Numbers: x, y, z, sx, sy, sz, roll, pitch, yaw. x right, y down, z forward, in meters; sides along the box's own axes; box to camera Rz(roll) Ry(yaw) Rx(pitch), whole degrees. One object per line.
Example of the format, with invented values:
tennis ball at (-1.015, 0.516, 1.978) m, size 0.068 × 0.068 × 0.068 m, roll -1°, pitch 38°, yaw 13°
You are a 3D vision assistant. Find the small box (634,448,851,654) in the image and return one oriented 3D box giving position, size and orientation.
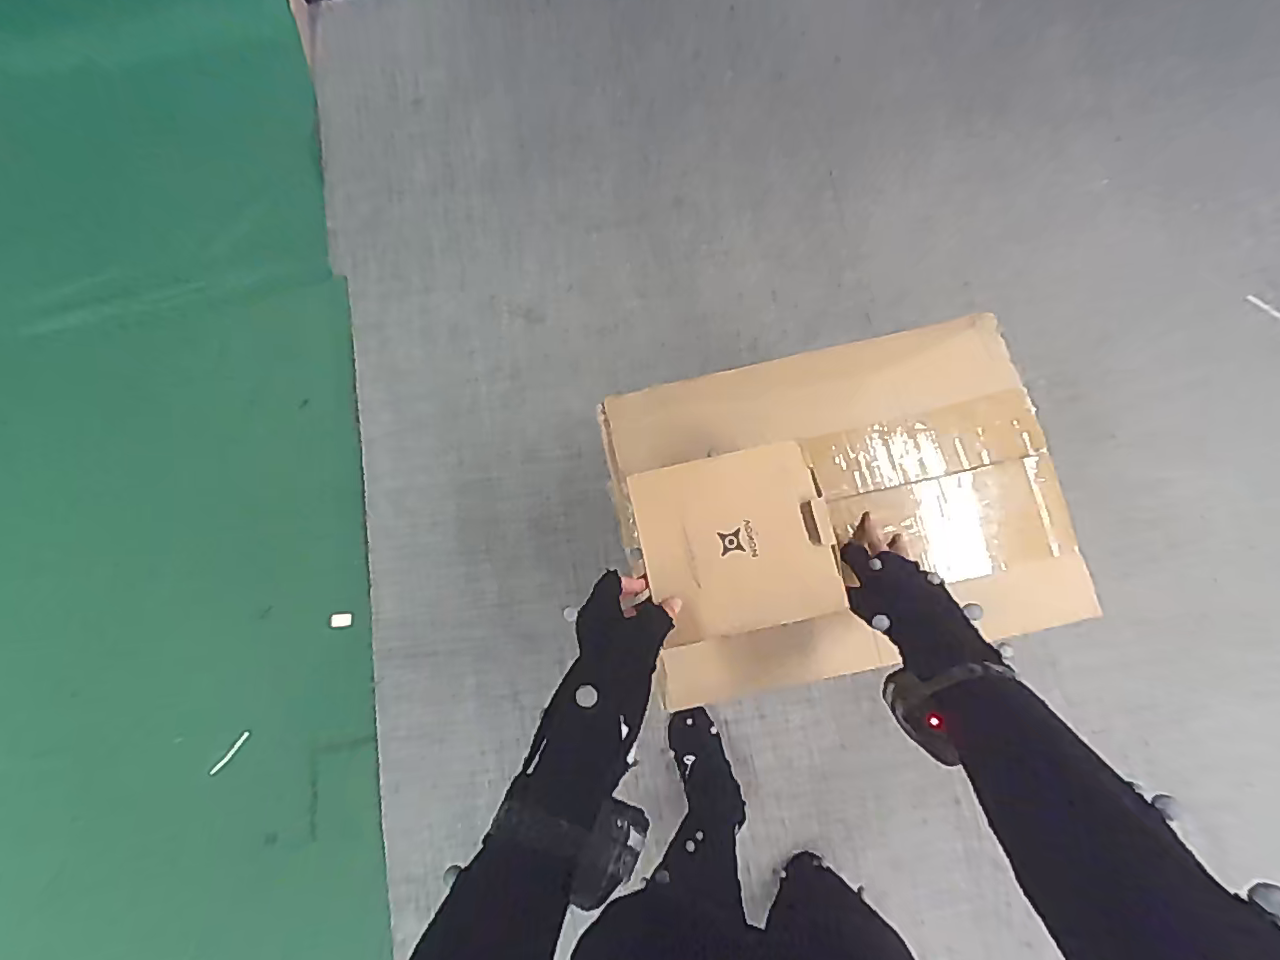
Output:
small box at (0.097, 0.077, 0.585) m, size 0.179 × 0.176 × 0.168 m, roll -13°, pitch 79°, yaw 1°
